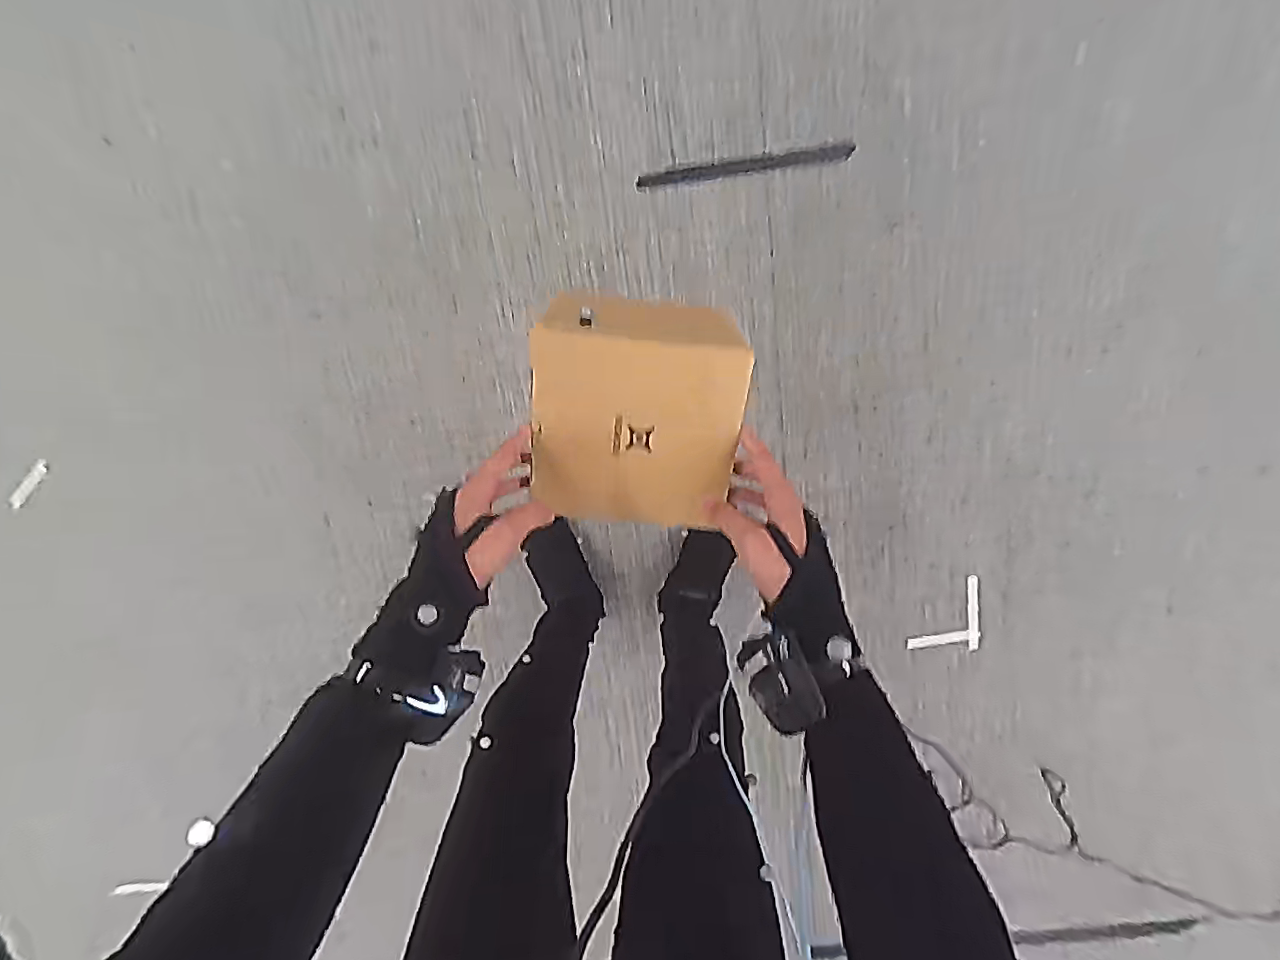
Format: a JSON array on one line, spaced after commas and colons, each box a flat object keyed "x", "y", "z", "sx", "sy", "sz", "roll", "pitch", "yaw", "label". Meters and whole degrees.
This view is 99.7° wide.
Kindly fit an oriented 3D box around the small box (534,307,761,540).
[{"x": 0.001, "y": -0.063, "z": 0.520, "sx": 0.179, "sy": 0.176, "sz": 0.168, "roll": 6, "pitch": 118, "yaw": -1, "label": "small box"}]
